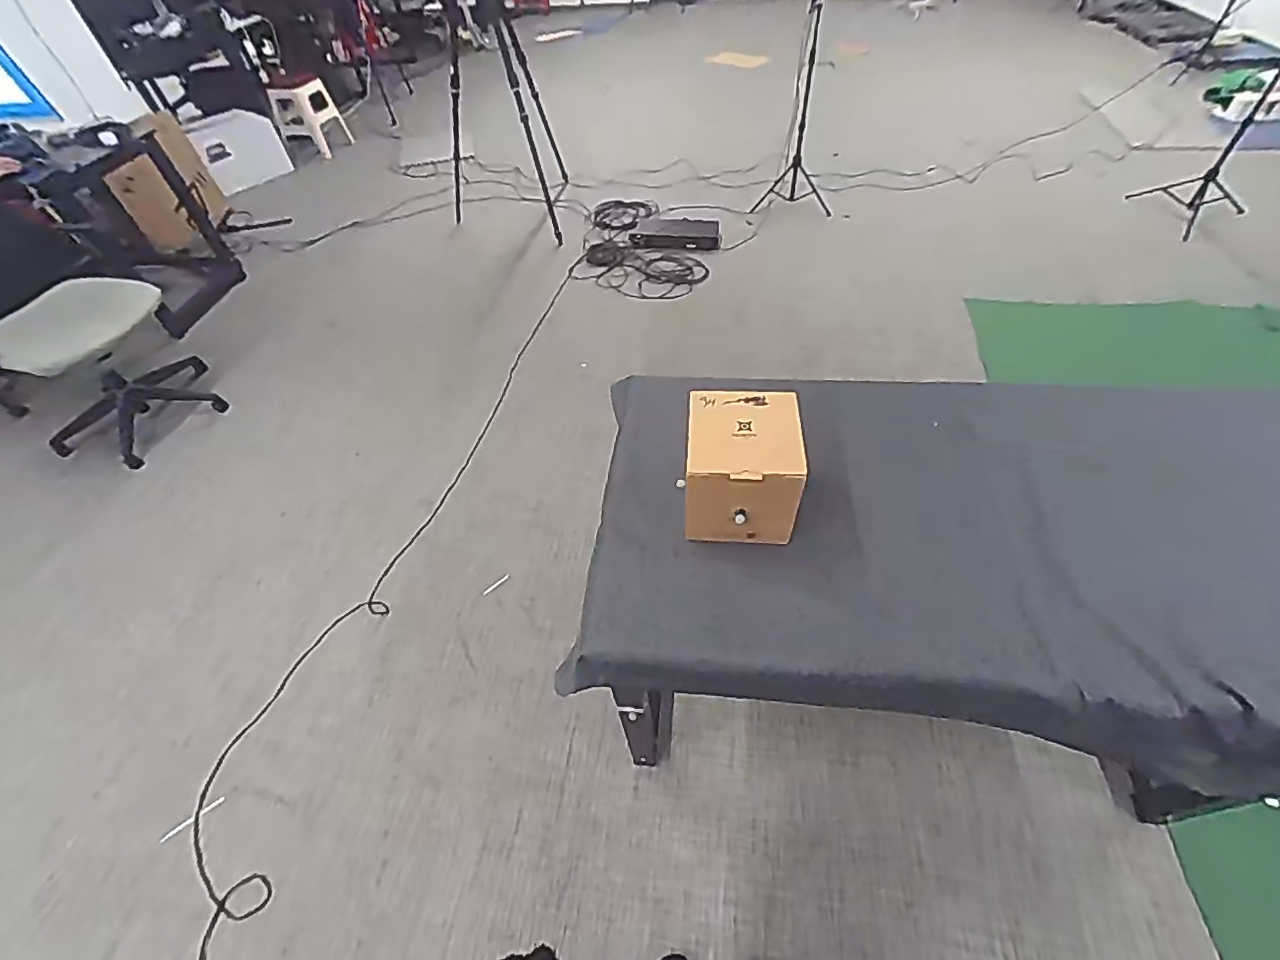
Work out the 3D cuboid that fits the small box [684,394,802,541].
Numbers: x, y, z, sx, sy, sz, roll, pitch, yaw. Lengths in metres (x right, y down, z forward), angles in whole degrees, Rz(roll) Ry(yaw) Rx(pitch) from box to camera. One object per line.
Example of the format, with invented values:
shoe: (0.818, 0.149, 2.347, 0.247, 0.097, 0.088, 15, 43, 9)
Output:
small box: (0.158, -0.017, 0.863, 0.168, 0.176, 0.179, 2, 51, 7)
